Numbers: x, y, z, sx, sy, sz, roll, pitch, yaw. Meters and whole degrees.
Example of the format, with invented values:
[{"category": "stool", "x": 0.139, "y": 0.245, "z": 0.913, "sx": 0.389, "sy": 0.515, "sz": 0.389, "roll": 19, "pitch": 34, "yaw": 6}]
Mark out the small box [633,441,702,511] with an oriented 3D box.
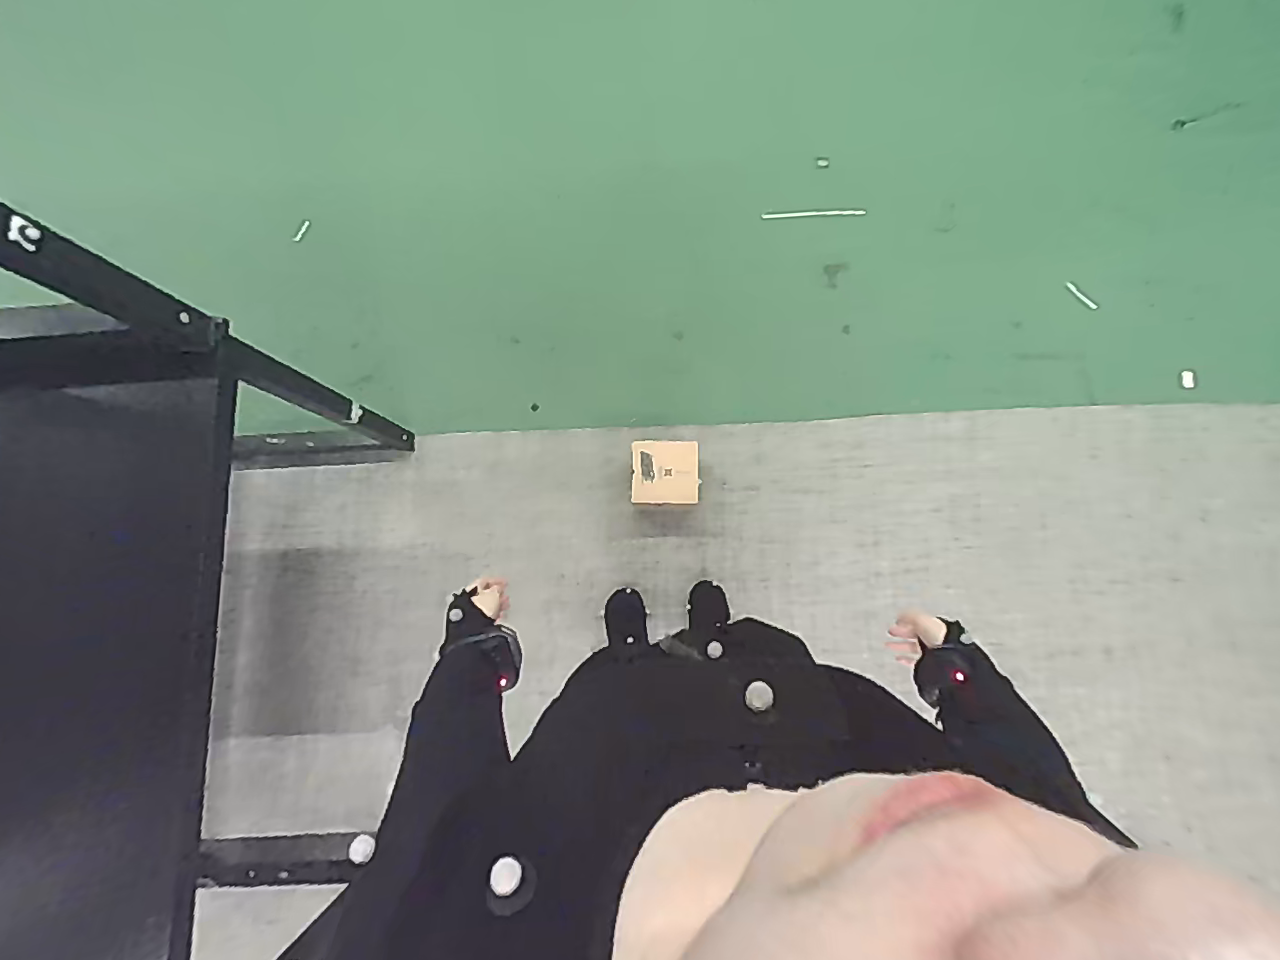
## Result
[{"category": "small box", "x": 0.074, "y": -0.005, "z": 1.458, "sx": 0.179, "sy": 0.176, "sz": 0.168, "roll": 1, "pitch": 81, "yaw": 2}]
